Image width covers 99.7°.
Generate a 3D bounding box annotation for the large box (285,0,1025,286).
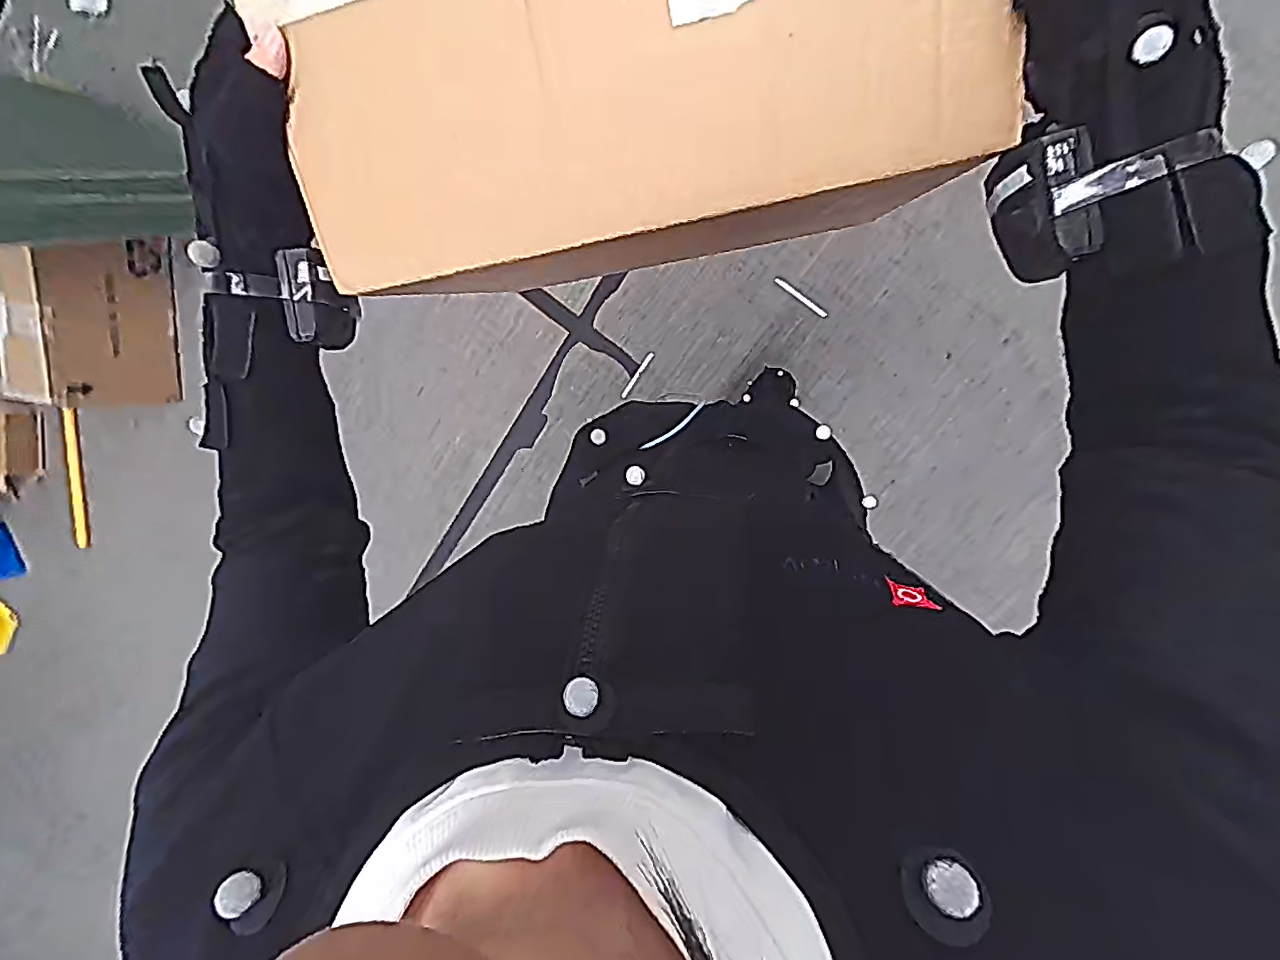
[{"bbox_3d":[0.004,-0.350,0.420,0.408,0.320,0.320,-7,109,12],"label":"large box"}]
